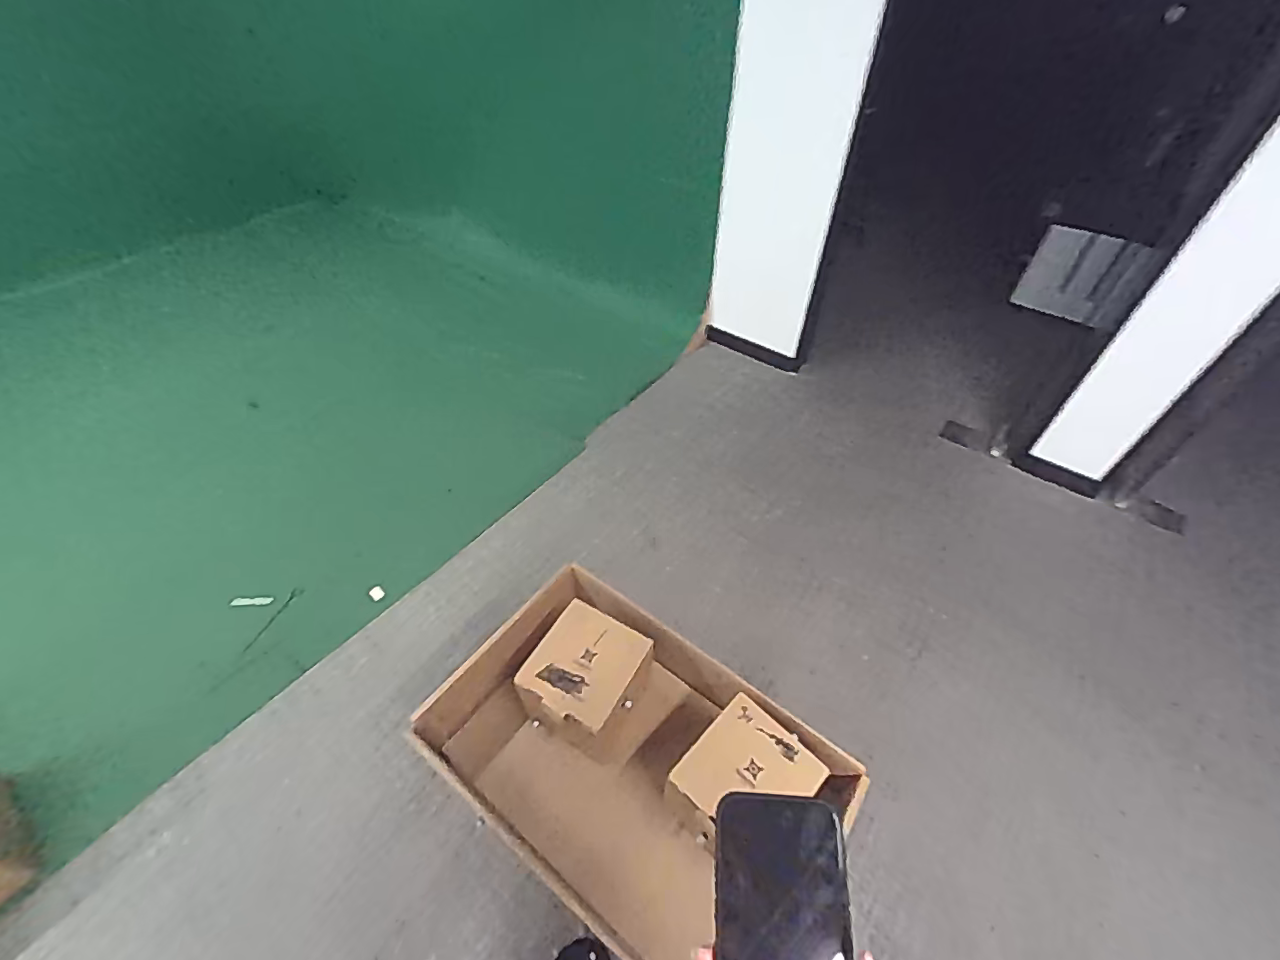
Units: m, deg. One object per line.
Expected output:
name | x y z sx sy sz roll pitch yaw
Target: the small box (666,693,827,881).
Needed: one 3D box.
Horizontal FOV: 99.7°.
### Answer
small box | 0.157 0.476 0.834 0.179 0.176 0.168 -37 58 -27
